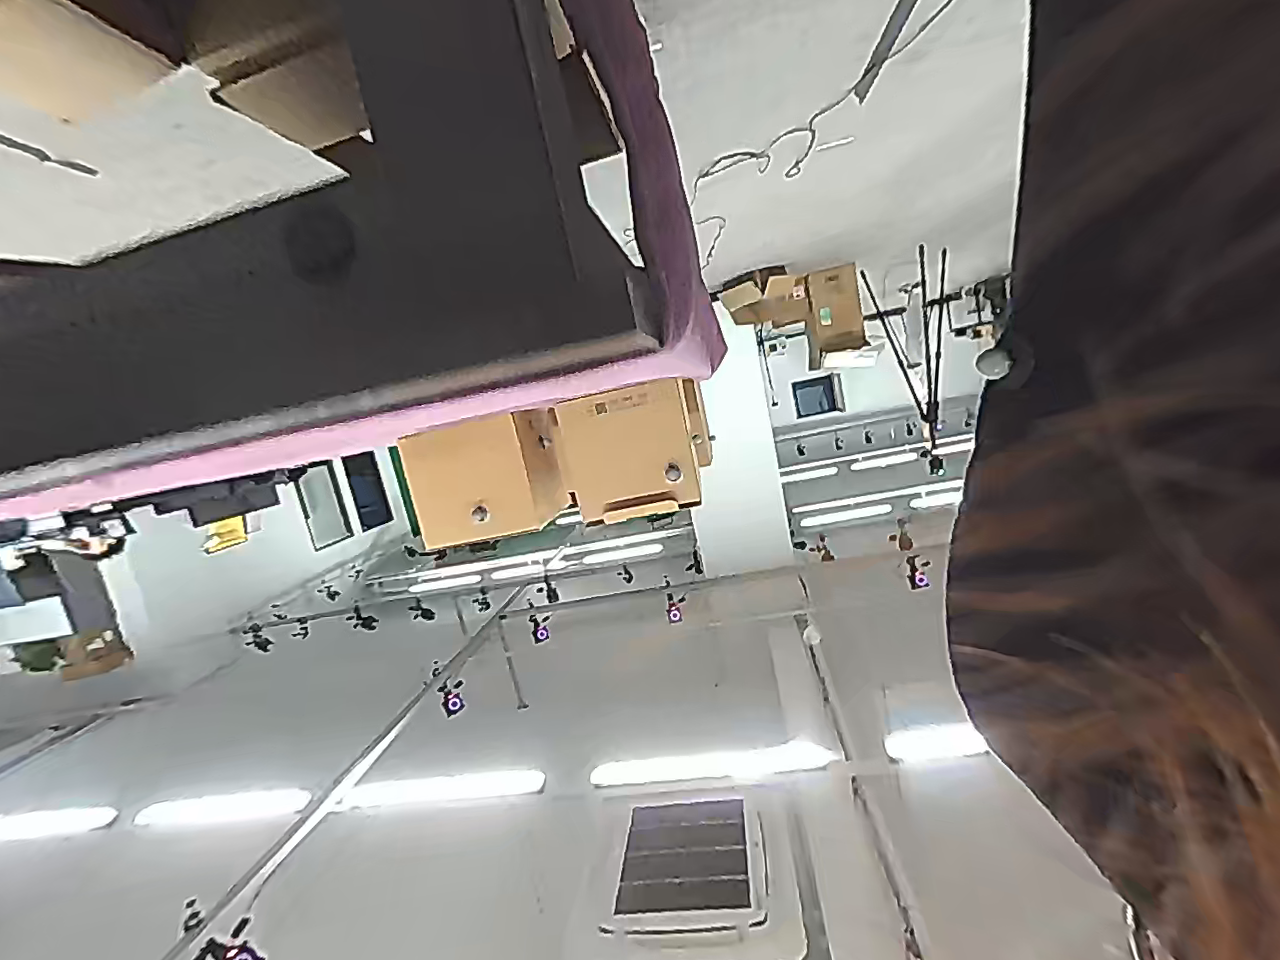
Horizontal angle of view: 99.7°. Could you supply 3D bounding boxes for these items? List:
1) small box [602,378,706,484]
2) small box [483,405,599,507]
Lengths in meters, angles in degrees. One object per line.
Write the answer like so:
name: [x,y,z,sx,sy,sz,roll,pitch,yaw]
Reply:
small box: [0.034,-0.101,1.059,0.168,0.176,0.179,-12,-172,10]
small box: [-0.197,-0.057,1.114,0.168,0.176,0.179,-12,-172,12]
